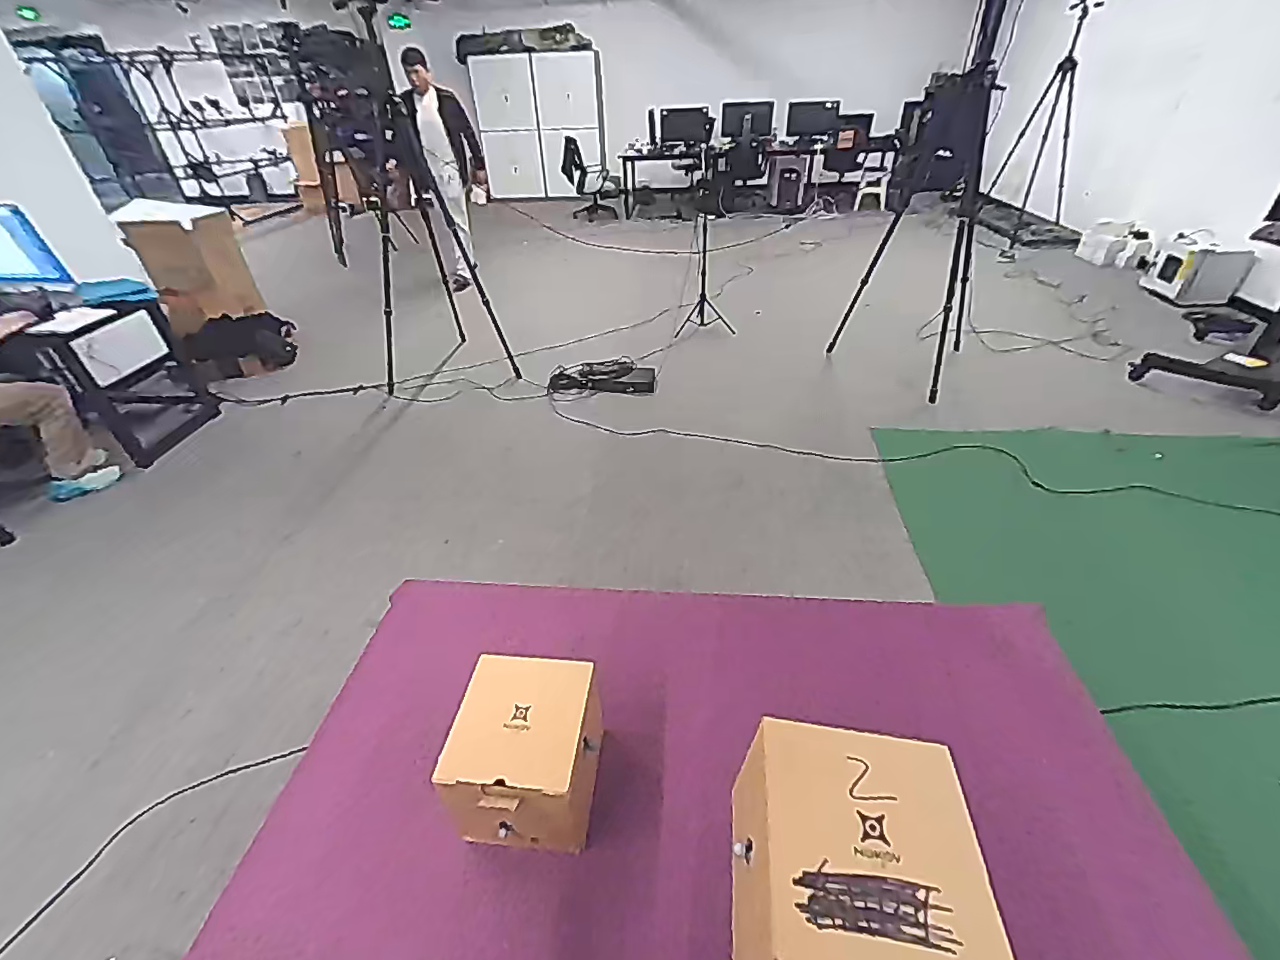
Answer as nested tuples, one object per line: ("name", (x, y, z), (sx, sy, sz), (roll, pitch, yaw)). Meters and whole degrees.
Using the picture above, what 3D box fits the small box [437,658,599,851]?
("small box", (-0.153, 0.376, 0.750), (0.168, 0.176, 0.179), (2, 37, 6))
